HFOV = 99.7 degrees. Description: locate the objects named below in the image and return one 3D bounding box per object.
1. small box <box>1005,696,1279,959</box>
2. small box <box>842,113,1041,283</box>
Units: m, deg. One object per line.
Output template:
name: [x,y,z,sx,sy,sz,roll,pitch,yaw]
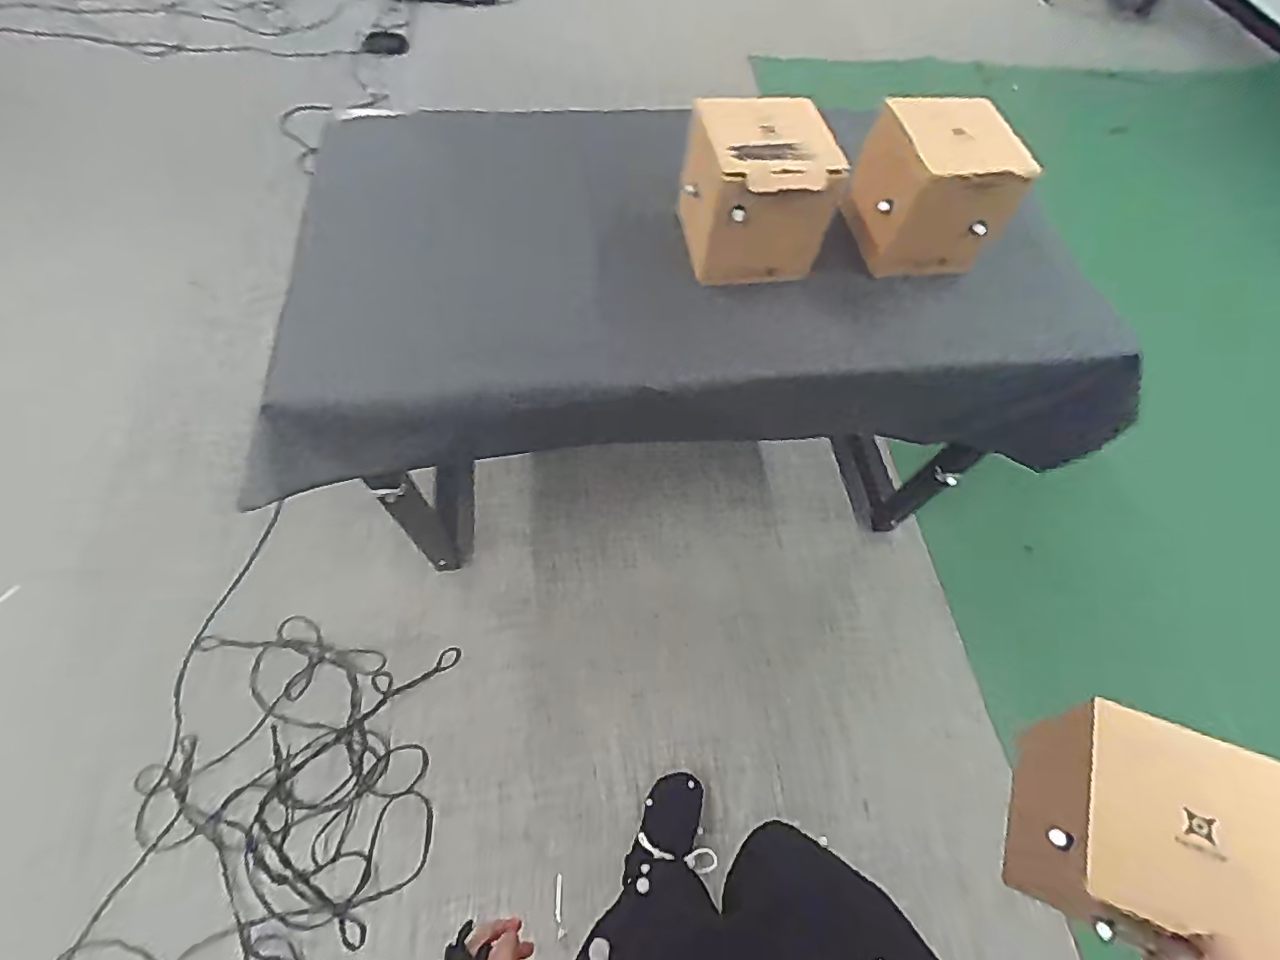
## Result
small box: [0.484,0.340,0.524,0.168,0.176,0.179,17,62,18]
small box: [0.431,-0.414,0.808,0.168,0.176,0.179,-5,61,-8]
